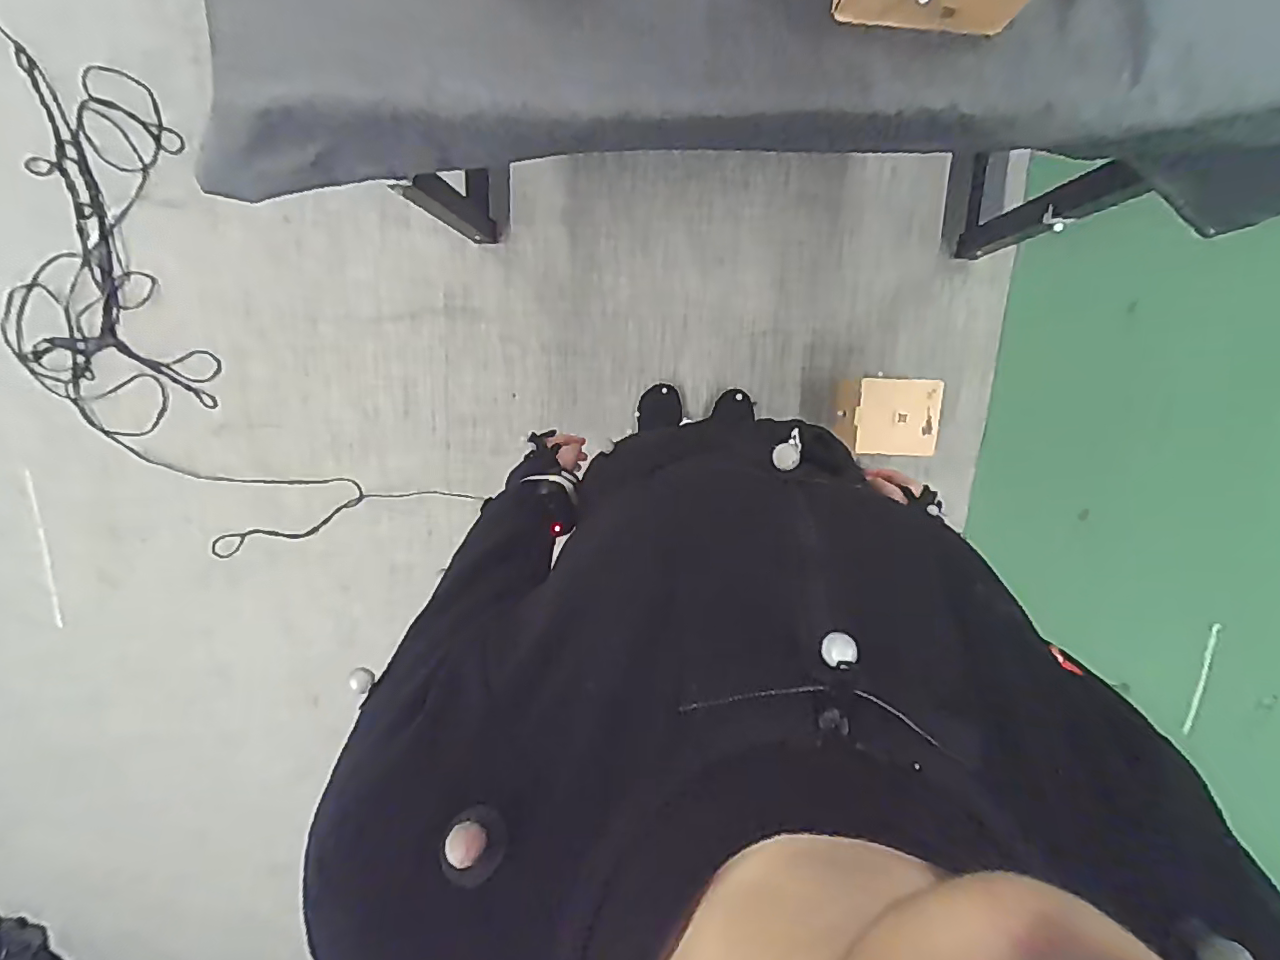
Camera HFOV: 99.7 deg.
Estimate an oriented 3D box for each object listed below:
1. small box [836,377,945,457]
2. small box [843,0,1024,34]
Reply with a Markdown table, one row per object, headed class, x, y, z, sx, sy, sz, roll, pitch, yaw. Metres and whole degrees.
| class | x | y | z | sx | sy | sz | roll | pitch | yaw |
| --- | --- | --- | --- | --- | --- | --- | --- | --- | --- |
| small box | 0.561 | -0.146 | 1.238 | 0.179 | 0.176 | 0.168 | 2 | 100 | 3 |
| small box | 0.280 | -0.522 | 0.443 | 0.168 | 0.176 | 0.179 | 7 | 101 | 2 |
